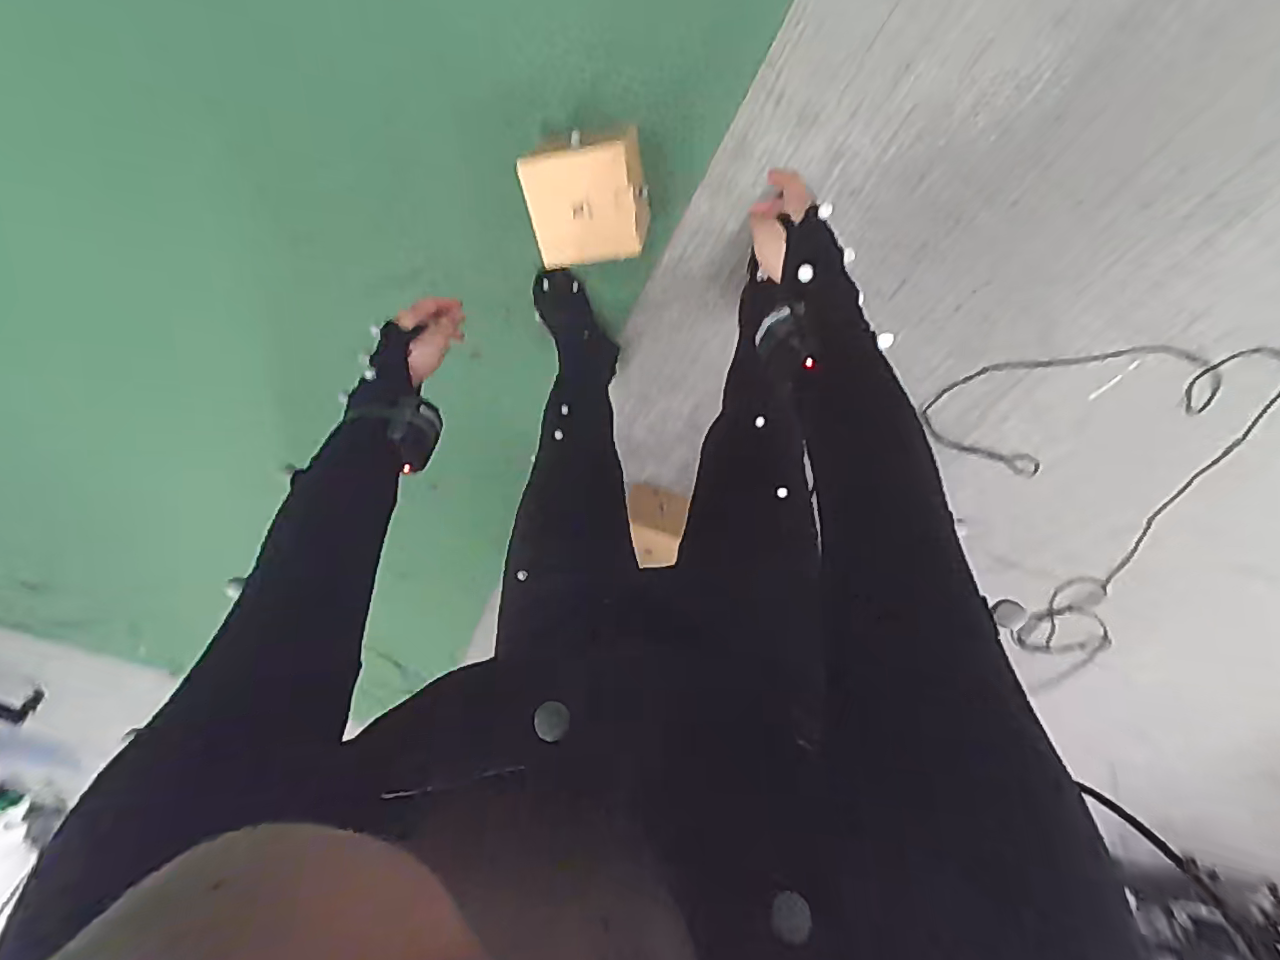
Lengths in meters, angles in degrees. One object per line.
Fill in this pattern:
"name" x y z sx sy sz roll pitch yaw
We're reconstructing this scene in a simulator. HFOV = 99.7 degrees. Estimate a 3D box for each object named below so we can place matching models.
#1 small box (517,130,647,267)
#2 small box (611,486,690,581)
"small box" -0.090 -0.493 0.946 0.179 0.176 0.168 -5 131 10
"small box" 0.028 0.144 1.497 0.168 0.176 0.179 18 131 -10
